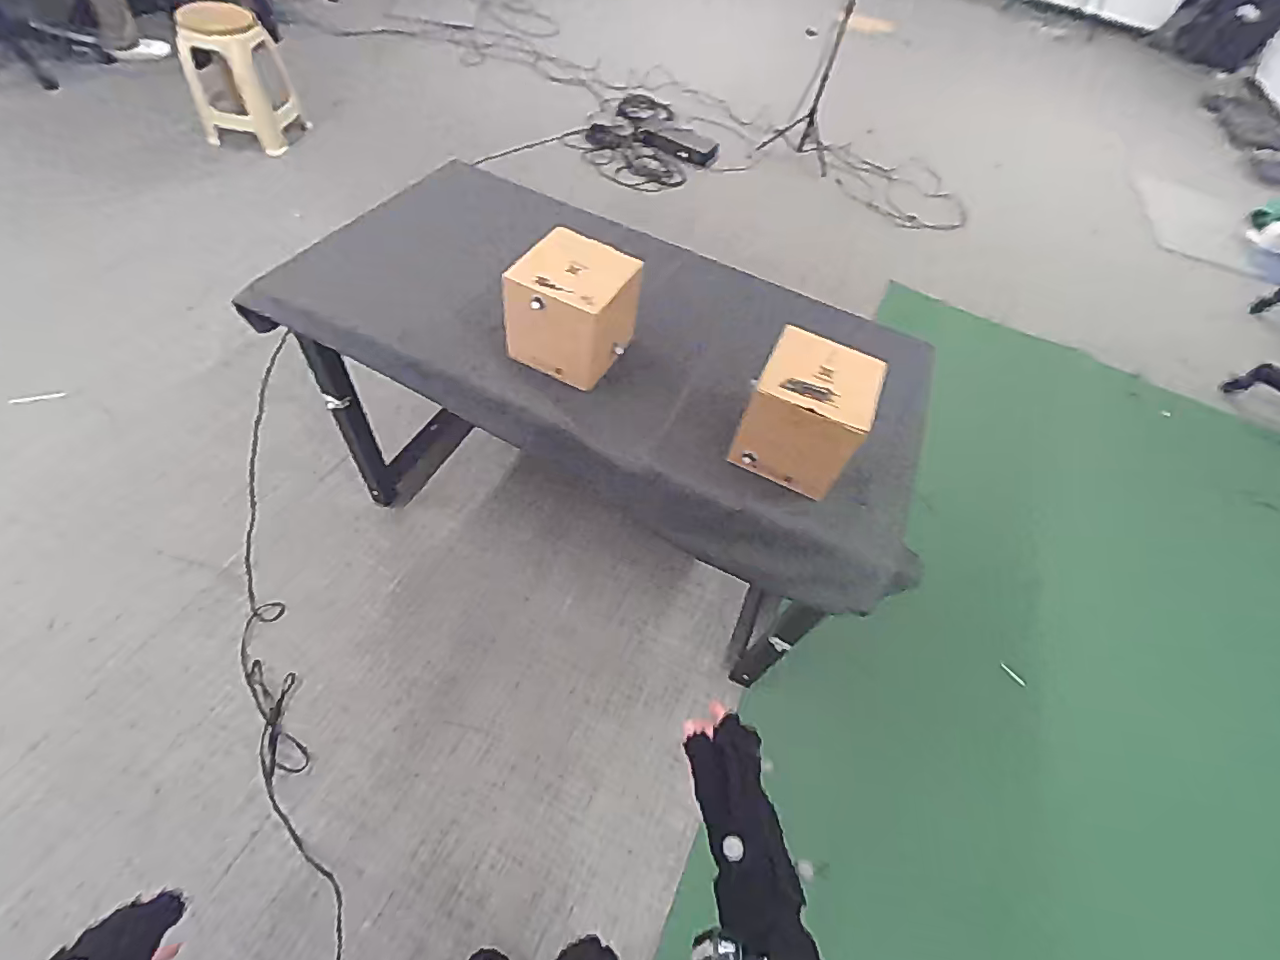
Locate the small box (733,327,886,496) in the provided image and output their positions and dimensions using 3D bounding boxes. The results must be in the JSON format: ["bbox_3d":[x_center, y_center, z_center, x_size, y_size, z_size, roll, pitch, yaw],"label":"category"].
[{"bbox_3d":[0.262,-0.105,0.864,0.168,0.176,0.179,25,53,9],"label":"small box"}]

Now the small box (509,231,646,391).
[{"bbox_3d":[-0.110,-0.289,0.932,0.168,0.176,0.179,25,54,9],"label":"small box"}]
